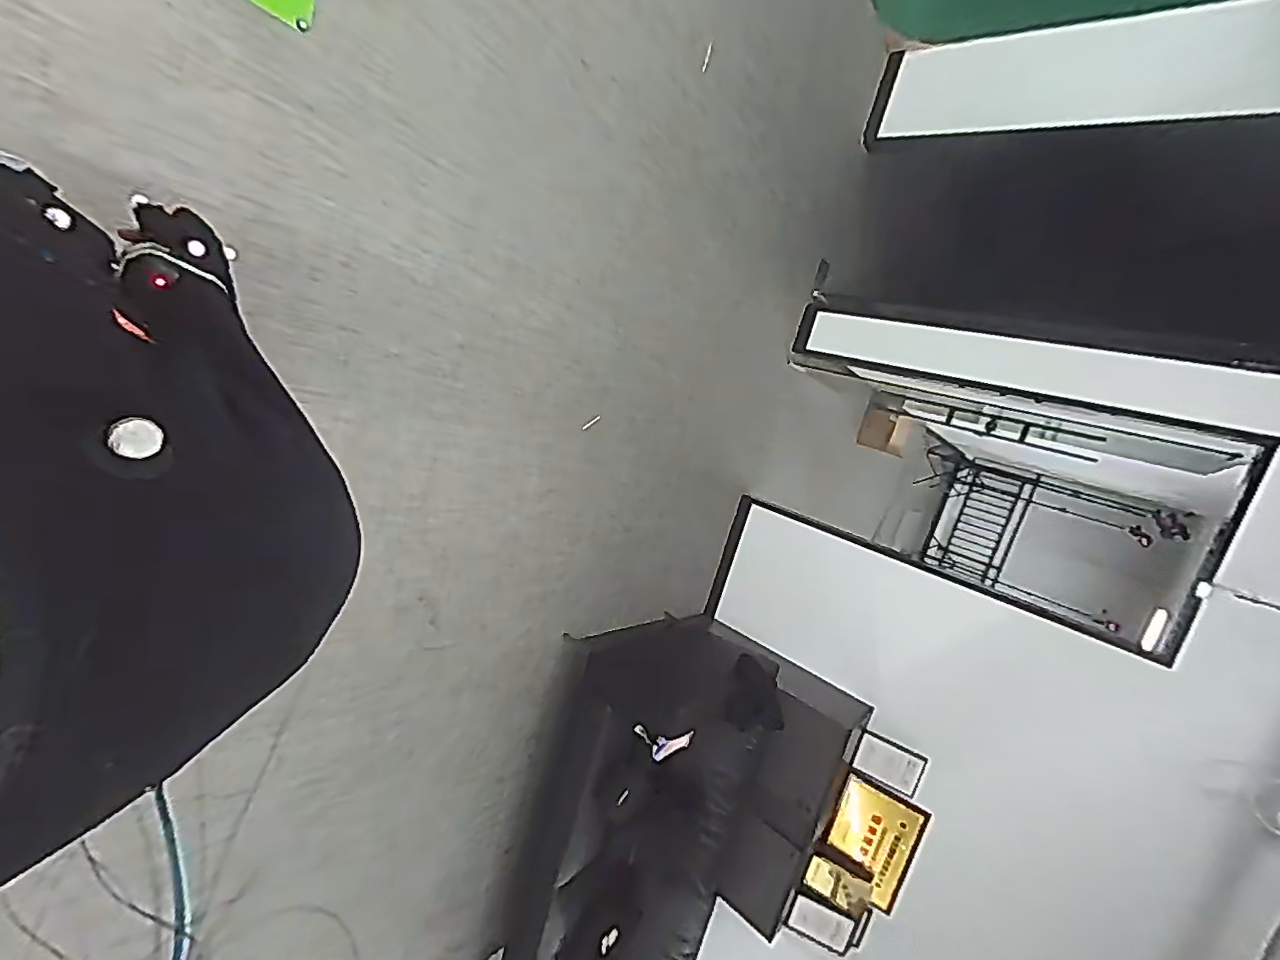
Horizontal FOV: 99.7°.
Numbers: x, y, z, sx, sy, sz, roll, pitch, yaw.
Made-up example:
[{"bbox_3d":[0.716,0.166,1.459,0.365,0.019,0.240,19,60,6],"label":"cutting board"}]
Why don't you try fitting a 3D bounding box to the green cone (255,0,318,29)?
[{"bbox_3d":[-0.606,-0.987,0.945,0.202,0.368,0.200,4,105,-51],"label":"green cone"}]
